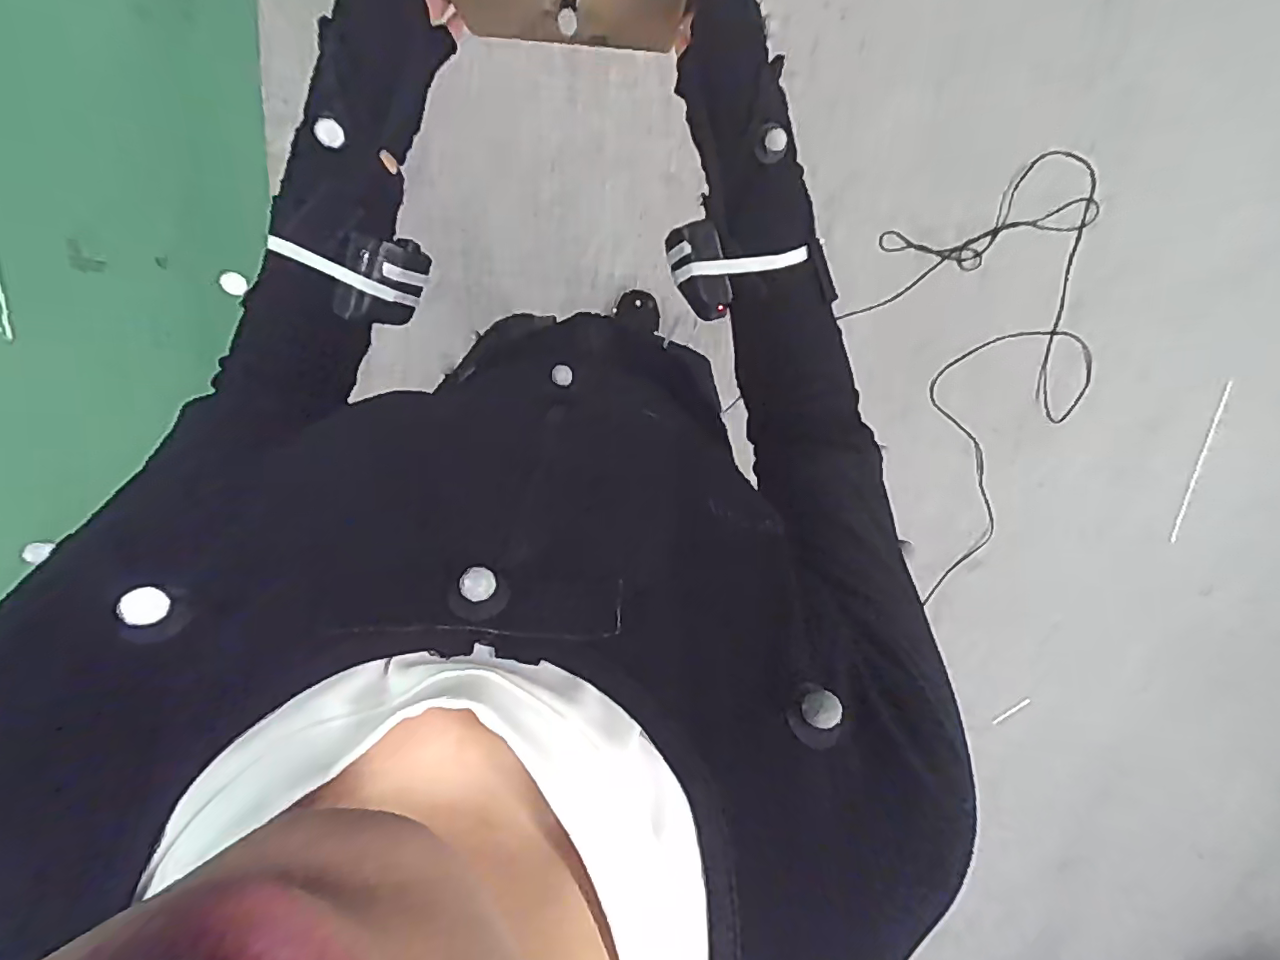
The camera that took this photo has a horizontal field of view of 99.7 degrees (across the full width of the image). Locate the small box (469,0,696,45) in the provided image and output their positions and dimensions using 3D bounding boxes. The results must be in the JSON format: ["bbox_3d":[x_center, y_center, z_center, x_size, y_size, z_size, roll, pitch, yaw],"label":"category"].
[{"bbox_3d":[-0.039,-0.401,0.333,0.168,0.176,0.179,0,112,-2],"label":"small box"}]
